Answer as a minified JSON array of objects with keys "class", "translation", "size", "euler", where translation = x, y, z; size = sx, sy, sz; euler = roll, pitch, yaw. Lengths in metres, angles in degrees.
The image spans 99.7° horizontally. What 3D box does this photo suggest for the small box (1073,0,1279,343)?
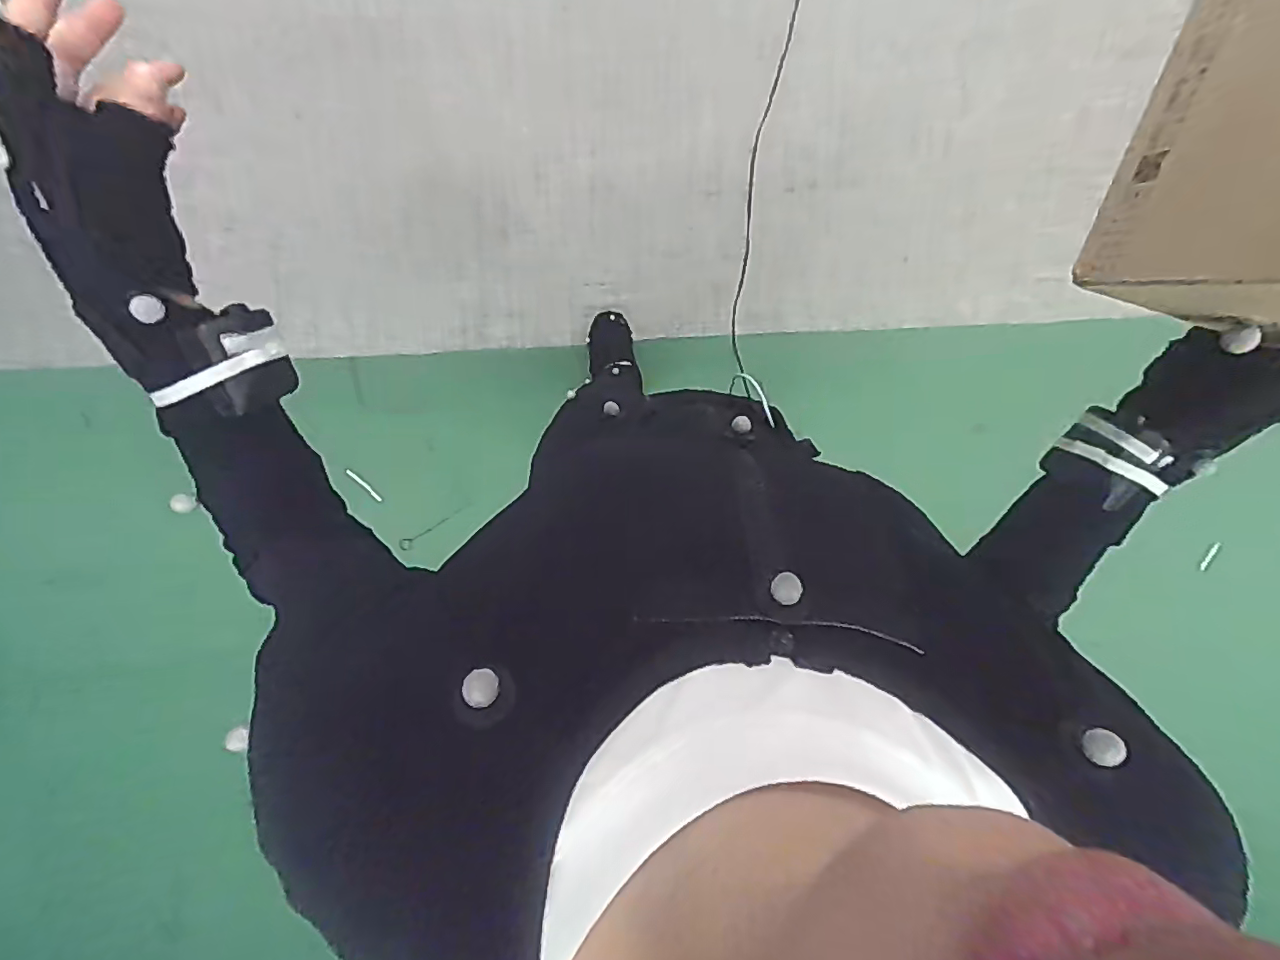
[{"class":"small box","translation":[0.367,-0.153,0.244],"size":[0.179,0.176,0.168],"euler":[12,107,-12]}]
